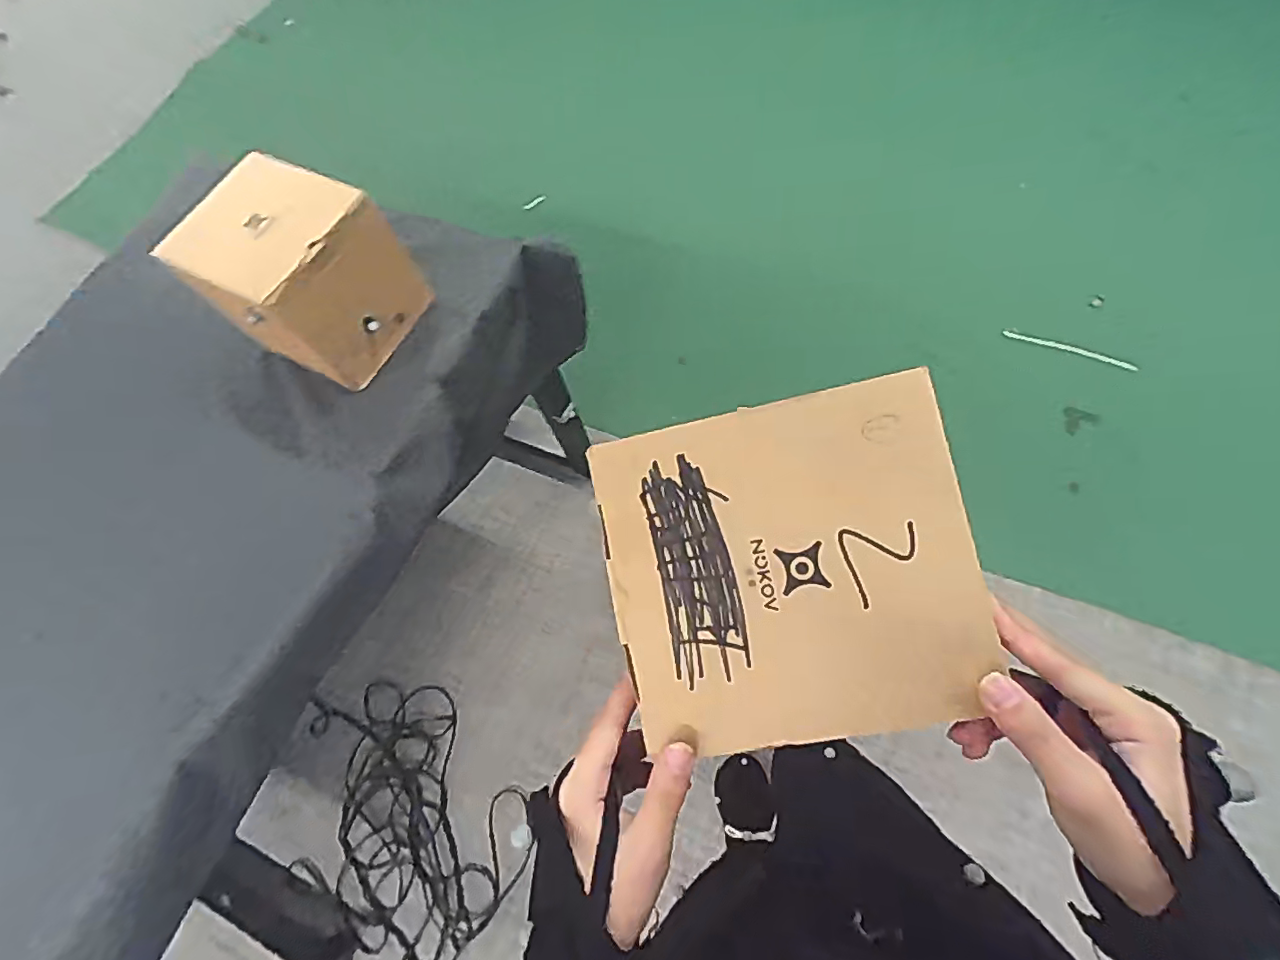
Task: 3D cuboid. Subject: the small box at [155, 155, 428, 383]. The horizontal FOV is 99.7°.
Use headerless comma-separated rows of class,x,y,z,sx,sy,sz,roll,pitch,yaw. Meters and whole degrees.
small box,-0.399,-0.244,0.651,0.179,0.176,0.168,24,73,15
